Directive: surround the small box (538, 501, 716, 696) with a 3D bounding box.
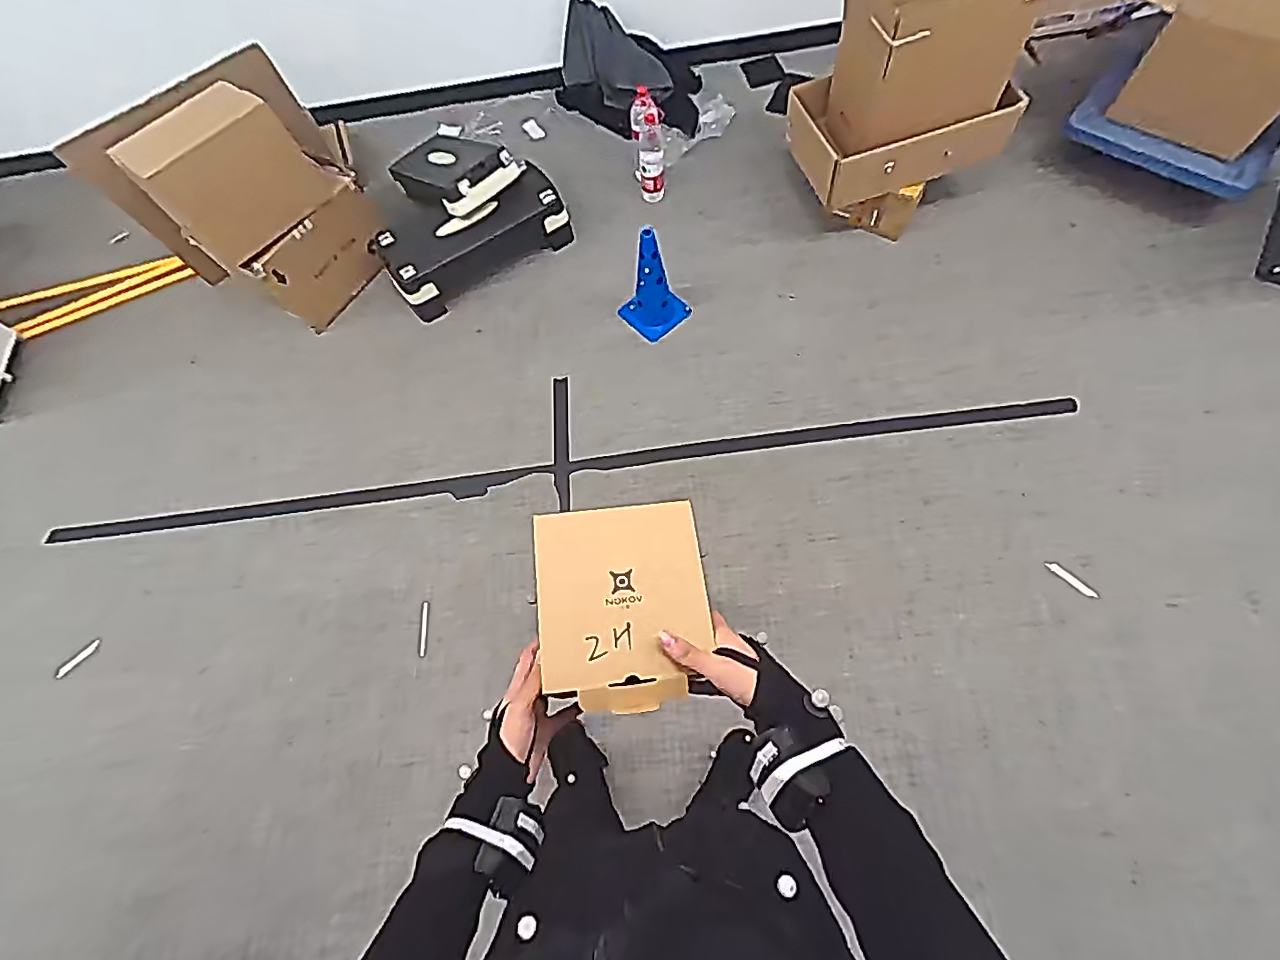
[{"bbox_3d":[-0.023,0.137,0.602,0.168,0.176,0.179,-5,67,-5],"label":"small box"}]
